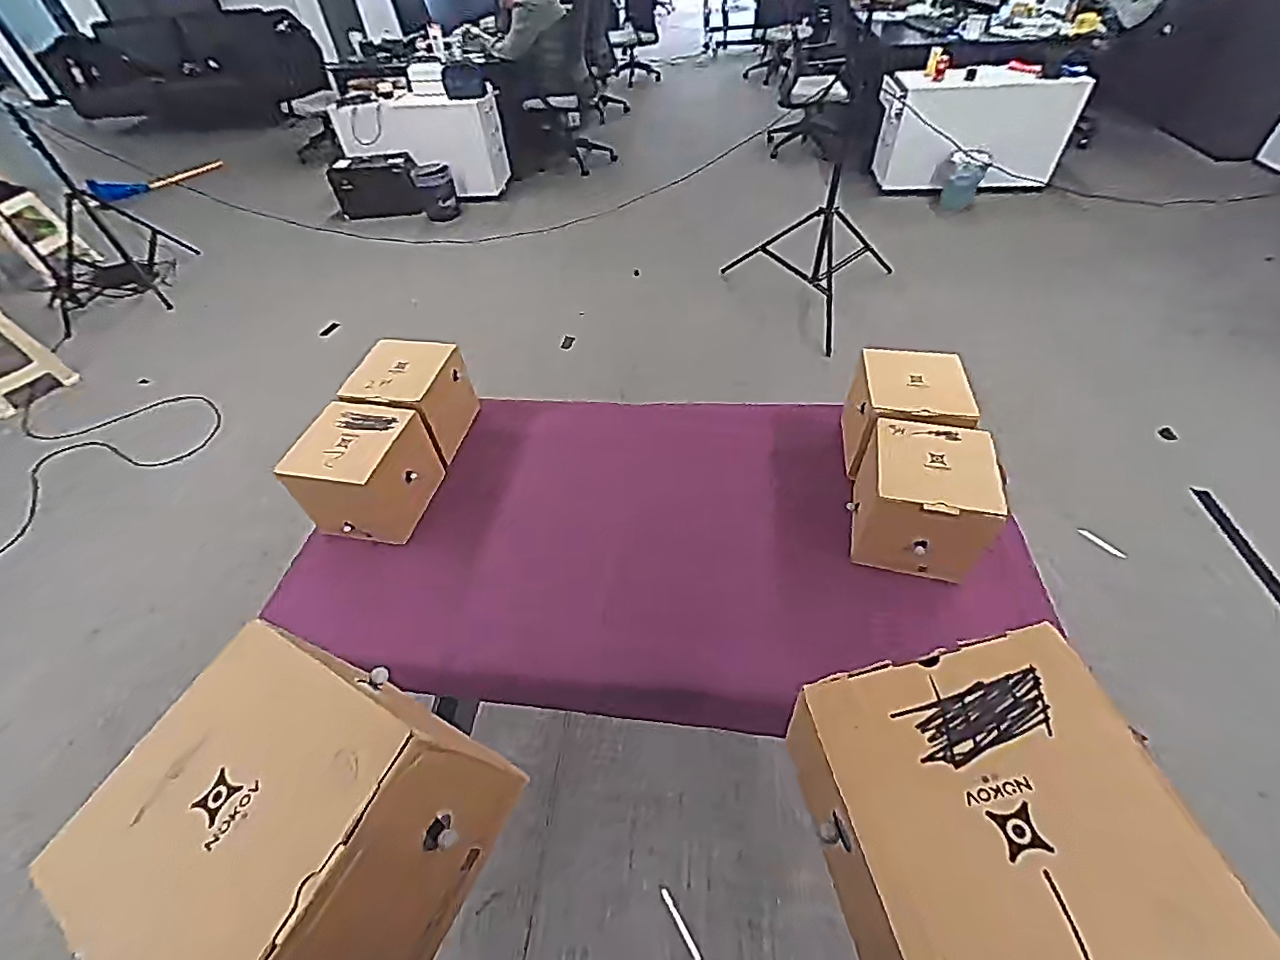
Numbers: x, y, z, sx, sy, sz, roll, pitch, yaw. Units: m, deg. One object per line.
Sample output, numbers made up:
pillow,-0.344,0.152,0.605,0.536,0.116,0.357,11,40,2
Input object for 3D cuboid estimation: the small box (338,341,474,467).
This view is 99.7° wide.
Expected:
small box,-0.447,-0.151,1.071,0.168,0.176,0.179,6,49,9

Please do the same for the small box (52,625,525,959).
small box,-0.211,0.232,0.371,0.179,0.176,0.168,16,59,27

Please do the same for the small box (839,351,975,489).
small box,0.465,-0.108,0.976,0.168,0.176,0.179,6,48,8

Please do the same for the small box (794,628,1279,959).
small box,0.212,0.225,0.356,0.168,0.176,0.179,-15,54,0
